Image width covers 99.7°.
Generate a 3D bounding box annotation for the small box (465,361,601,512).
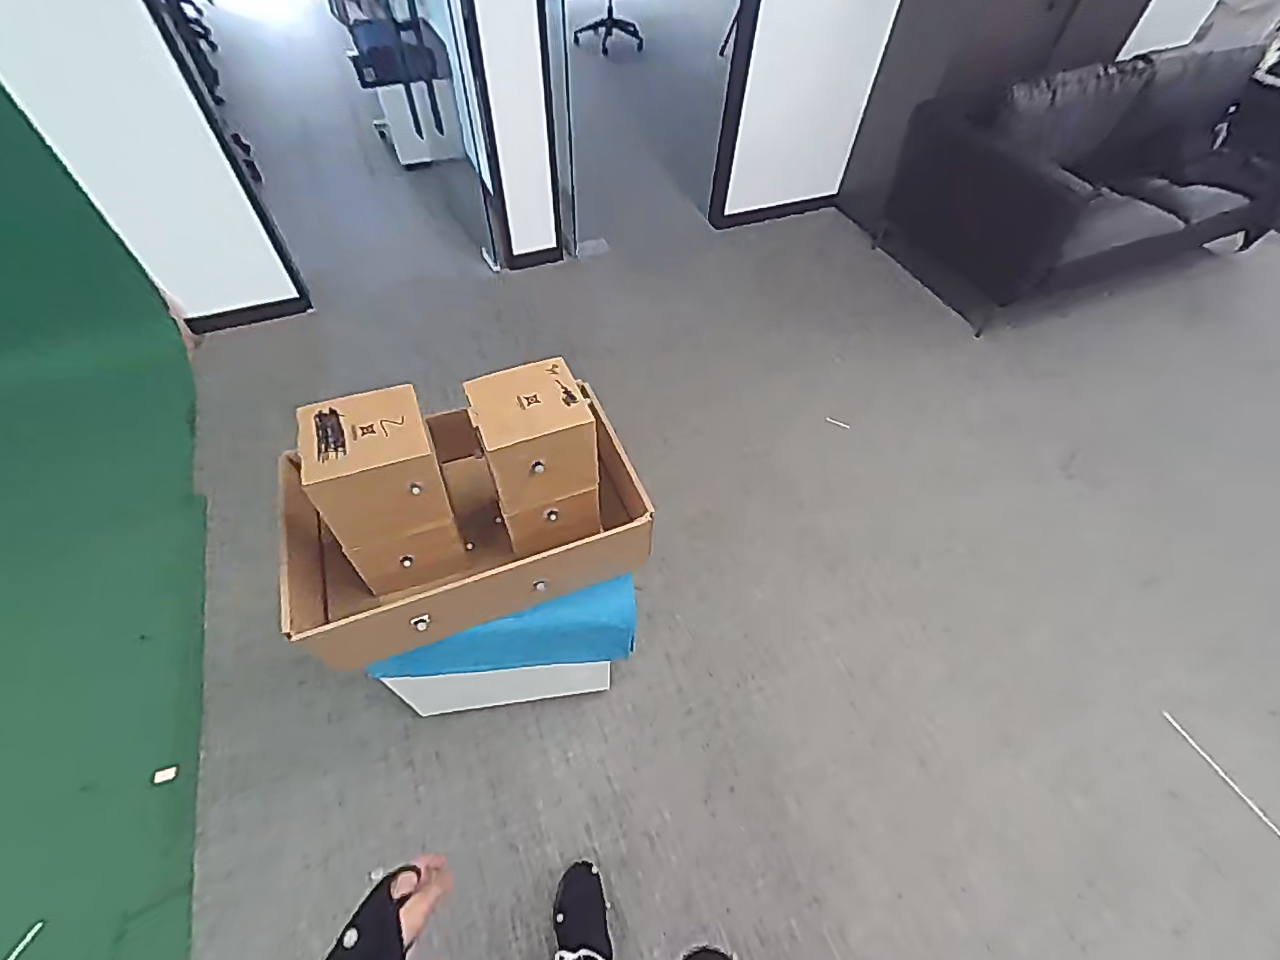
[{"bbox_3d":[-0.178,-0.070,0.932,0.179,0.176,0.168,-19,56,-14],"label":"small box"}]
